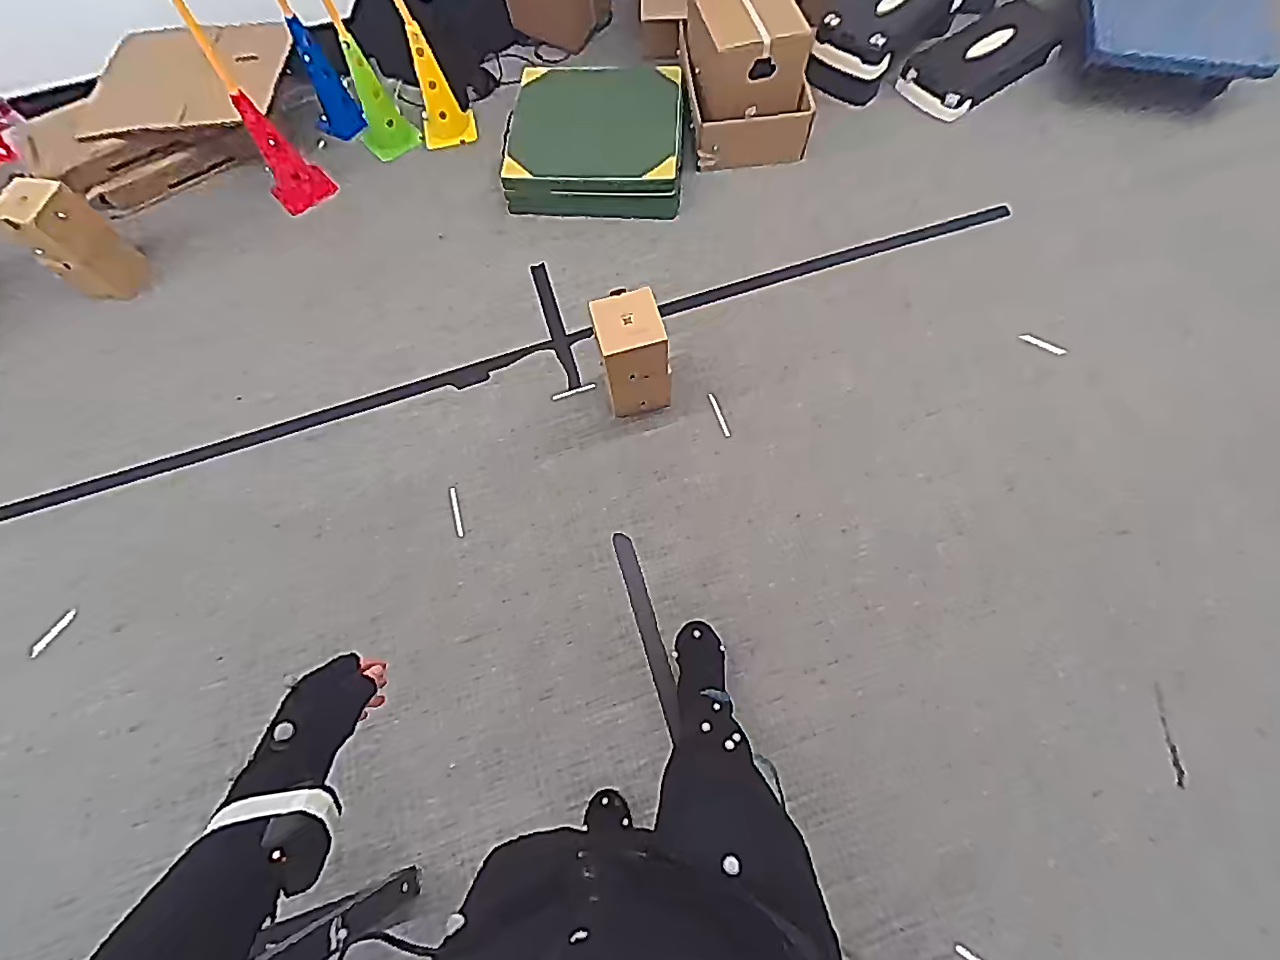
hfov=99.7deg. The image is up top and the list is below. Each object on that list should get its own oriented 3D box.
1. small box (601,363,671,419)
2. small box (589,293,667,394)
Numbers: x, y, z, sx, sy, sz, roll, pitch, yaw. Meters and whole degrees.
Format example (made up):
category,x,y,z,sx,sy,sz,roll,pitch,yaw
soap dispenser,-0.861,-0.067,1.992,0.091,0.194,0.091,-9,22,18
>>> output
category,x,y,z,sx,sy,sz,roll,pitch,yaw
small box,-0.017,-0.298,1.575,0.179,0.176,0.168,-13,66,-5
small box,-0.030,-0.356,1.423,0.168,0.176,0.179,-15,68,-3
